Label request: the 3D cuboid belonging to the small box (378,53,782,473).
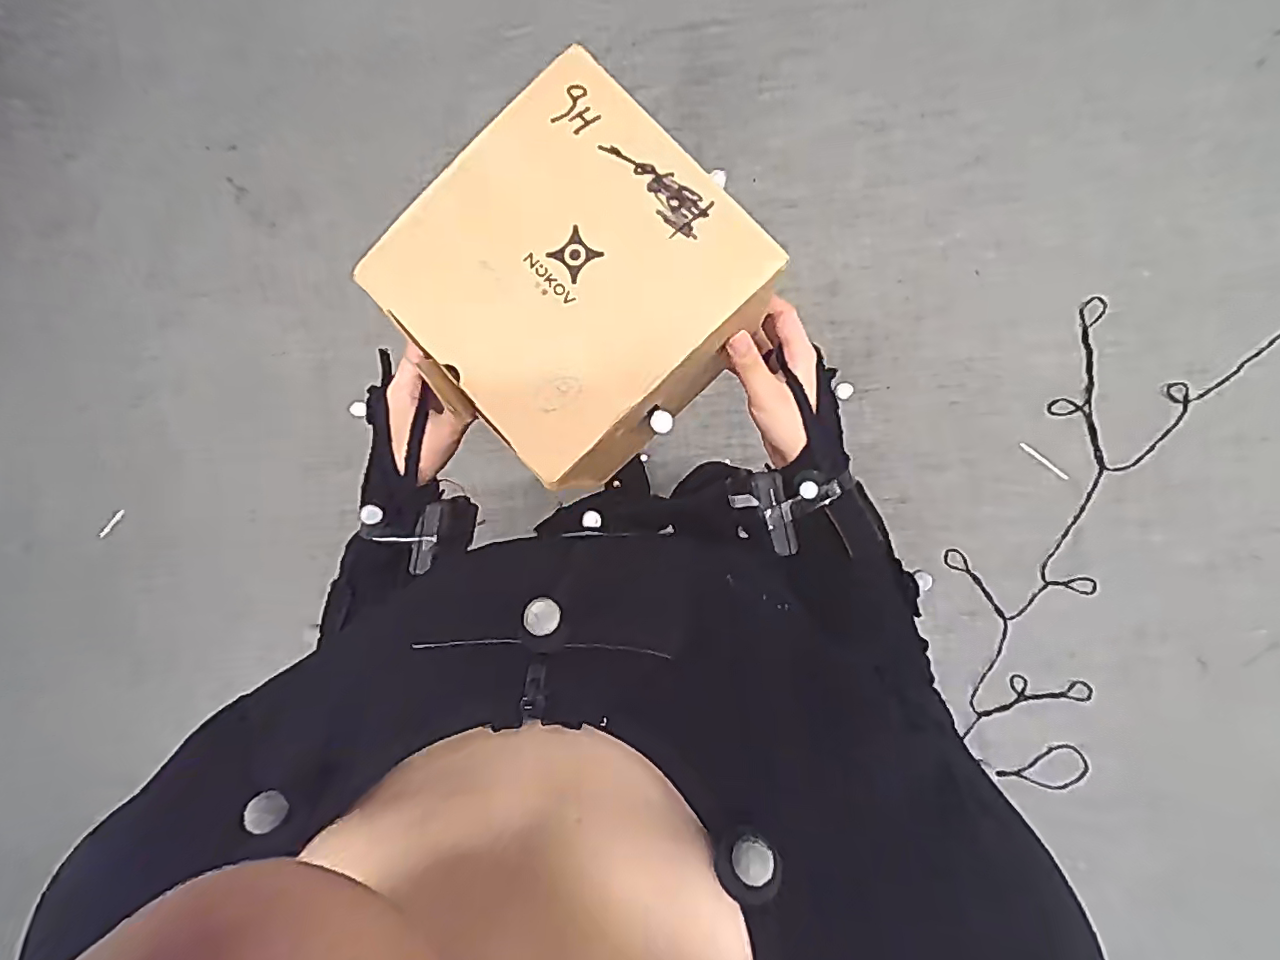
[{"bbox_3d":[-0.028,-0.119,0.378,0.179,0.176,0.168,-44,86,5],"label":"small box"}]
